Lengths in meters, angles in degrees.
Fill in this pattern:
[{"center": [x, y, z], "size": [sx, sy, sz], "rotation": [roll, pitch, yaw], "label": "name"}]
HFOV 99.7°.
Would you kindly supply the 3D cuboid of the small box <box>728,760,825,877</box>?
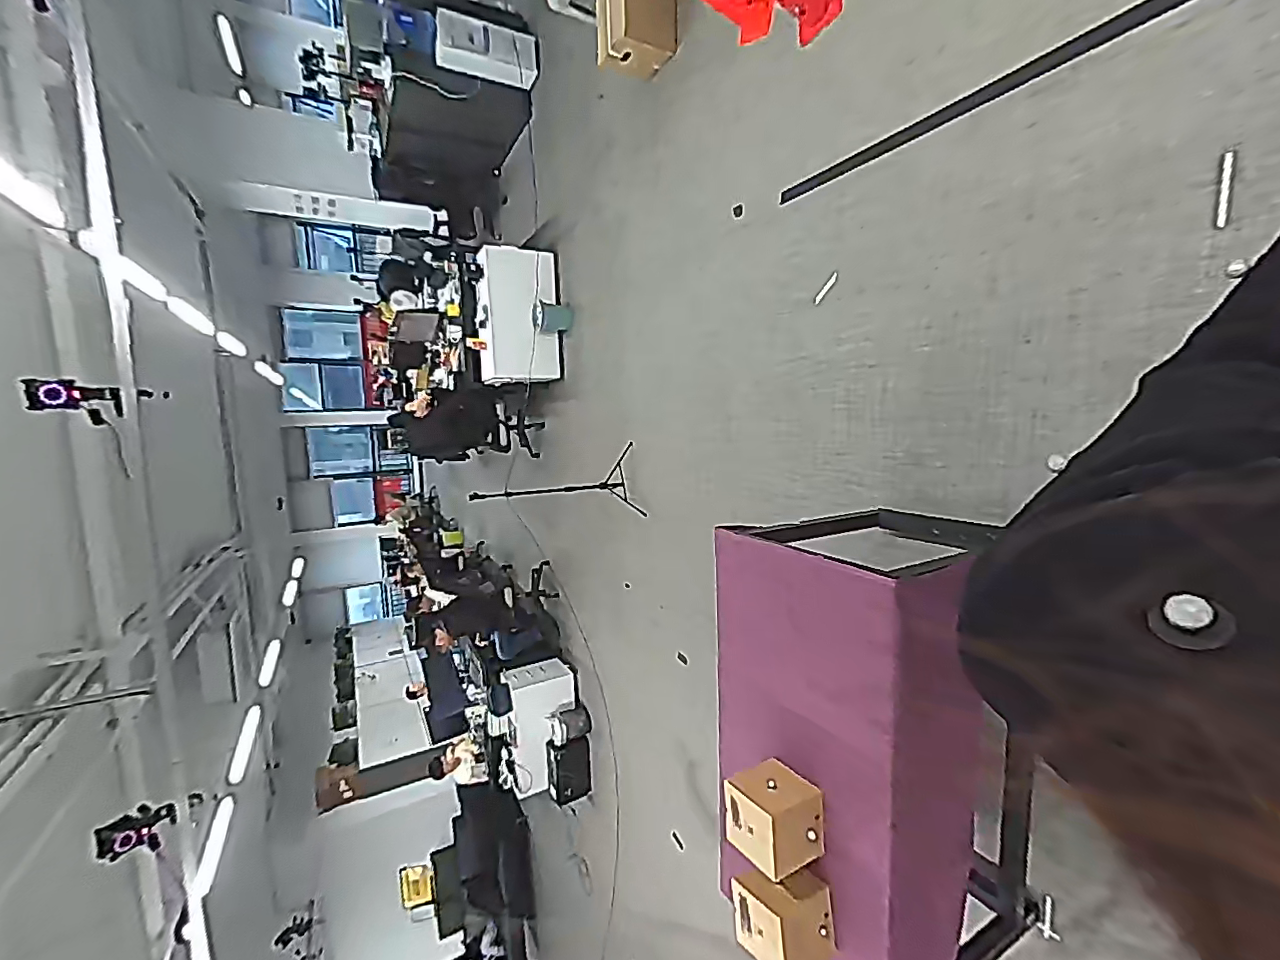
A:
[{"center": [0.344, 0.840, 1.366], "size": [0.179, 0.176, 0.168], "rotation": [4, 99, 60], "label": "small box"}]
